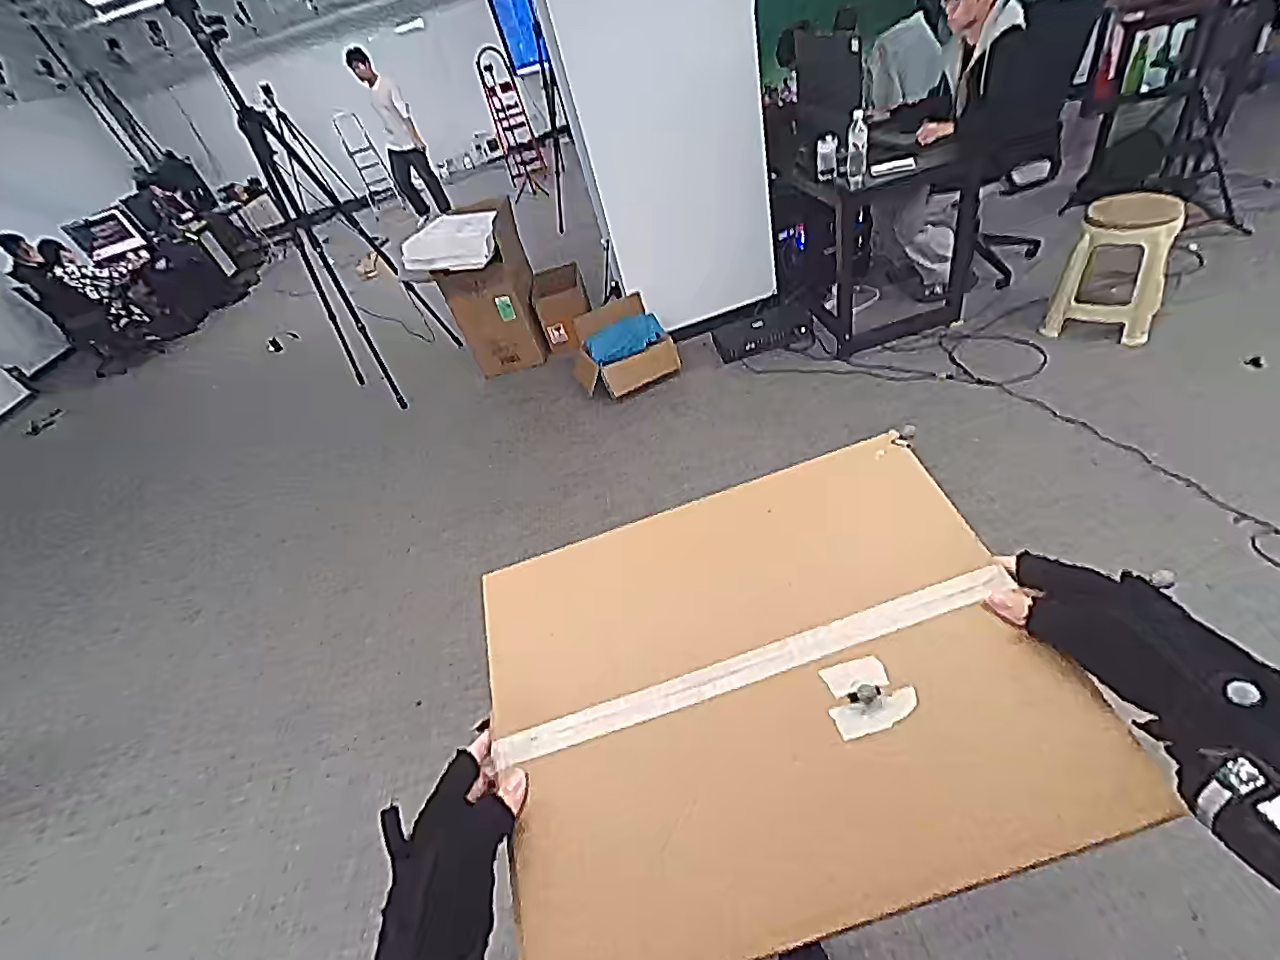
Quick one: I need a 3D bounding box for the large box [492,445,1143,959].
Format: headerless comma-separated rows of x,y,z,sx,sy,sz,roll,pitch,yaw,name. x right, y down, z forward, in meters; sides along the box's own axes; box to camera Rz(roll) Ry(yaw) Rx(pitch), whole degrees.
0.116,0.233,0.538,0.408,0.320,0.320,-20,53,0,large box
